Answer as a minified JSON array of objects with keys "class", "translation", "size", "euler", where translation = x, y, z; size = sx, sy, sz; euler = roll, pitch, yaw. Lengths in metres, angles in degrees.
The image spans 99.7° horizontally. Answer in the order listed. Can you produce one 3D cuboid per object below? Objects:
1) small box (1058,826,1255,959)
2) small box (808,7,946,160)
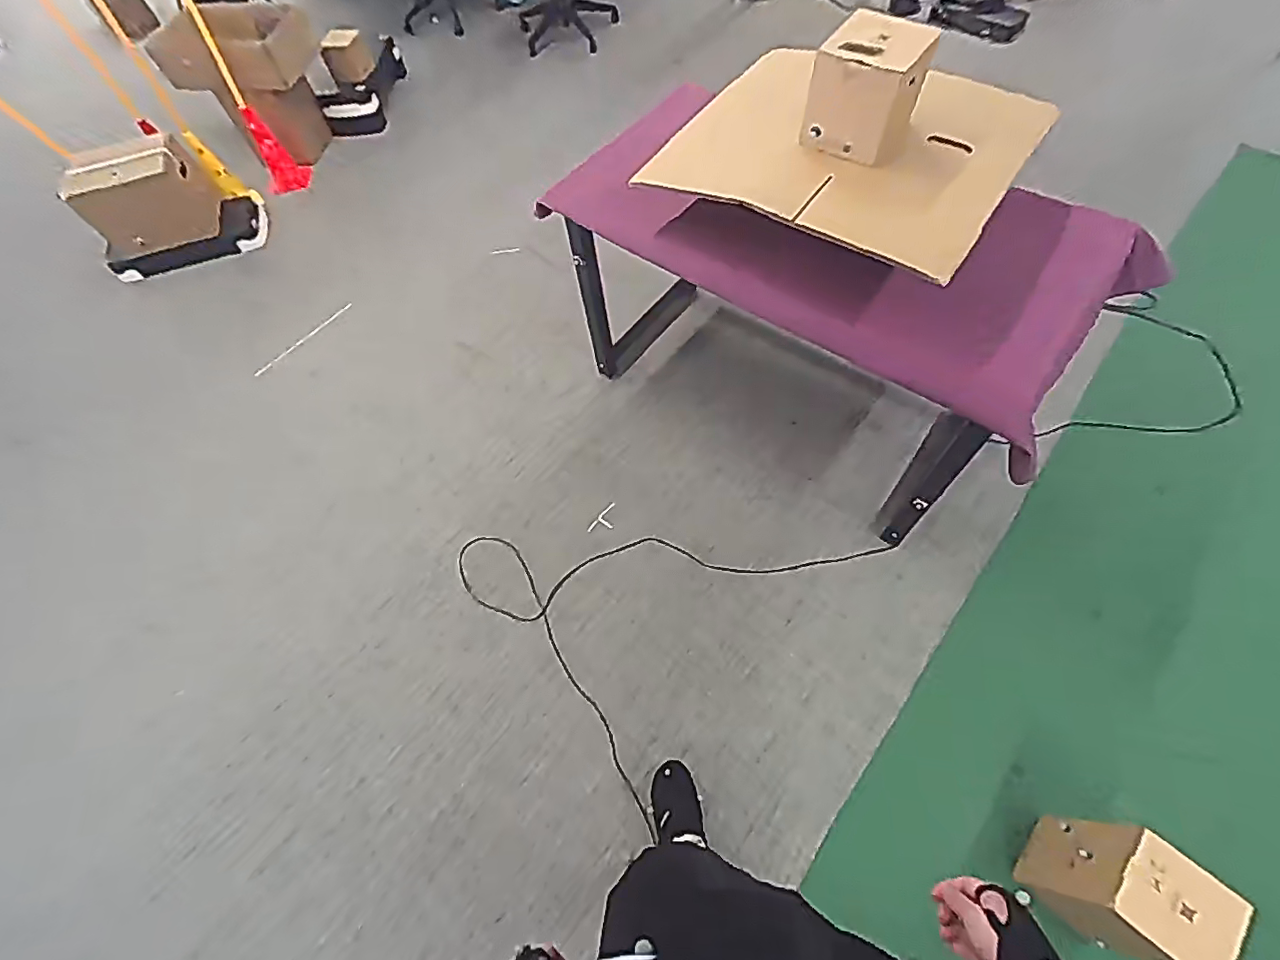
[{"class":"small box","translation":[0.940,0.776,1.000],"size":[0.179,0.176,0.168],"euler":[38,70,22]},{"class":"small box","translation":[0.442,-0.757,1.040],"size":[0.168,0.176,0.179],"euler":[32,68,18]}]
